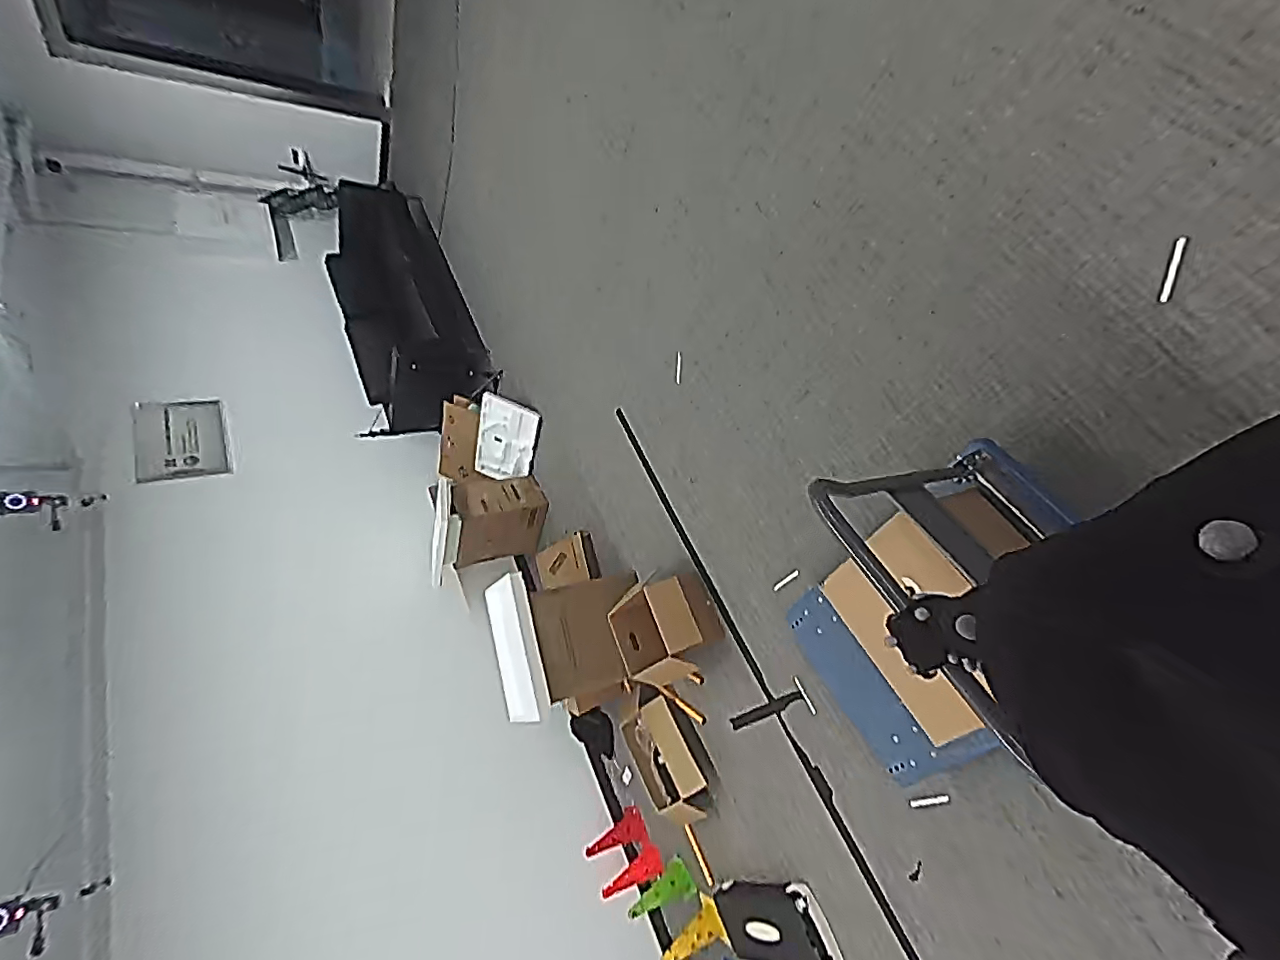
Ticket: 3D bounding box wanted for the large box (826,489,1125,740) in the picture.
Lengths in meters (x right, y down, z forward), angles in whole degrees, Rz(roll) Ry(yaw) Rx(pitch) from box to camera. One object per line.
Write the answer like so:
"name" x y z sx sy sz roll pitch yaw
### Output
"large box" 0.716 0.281 1.200 0.408 0.320 0.320 60 140 30
